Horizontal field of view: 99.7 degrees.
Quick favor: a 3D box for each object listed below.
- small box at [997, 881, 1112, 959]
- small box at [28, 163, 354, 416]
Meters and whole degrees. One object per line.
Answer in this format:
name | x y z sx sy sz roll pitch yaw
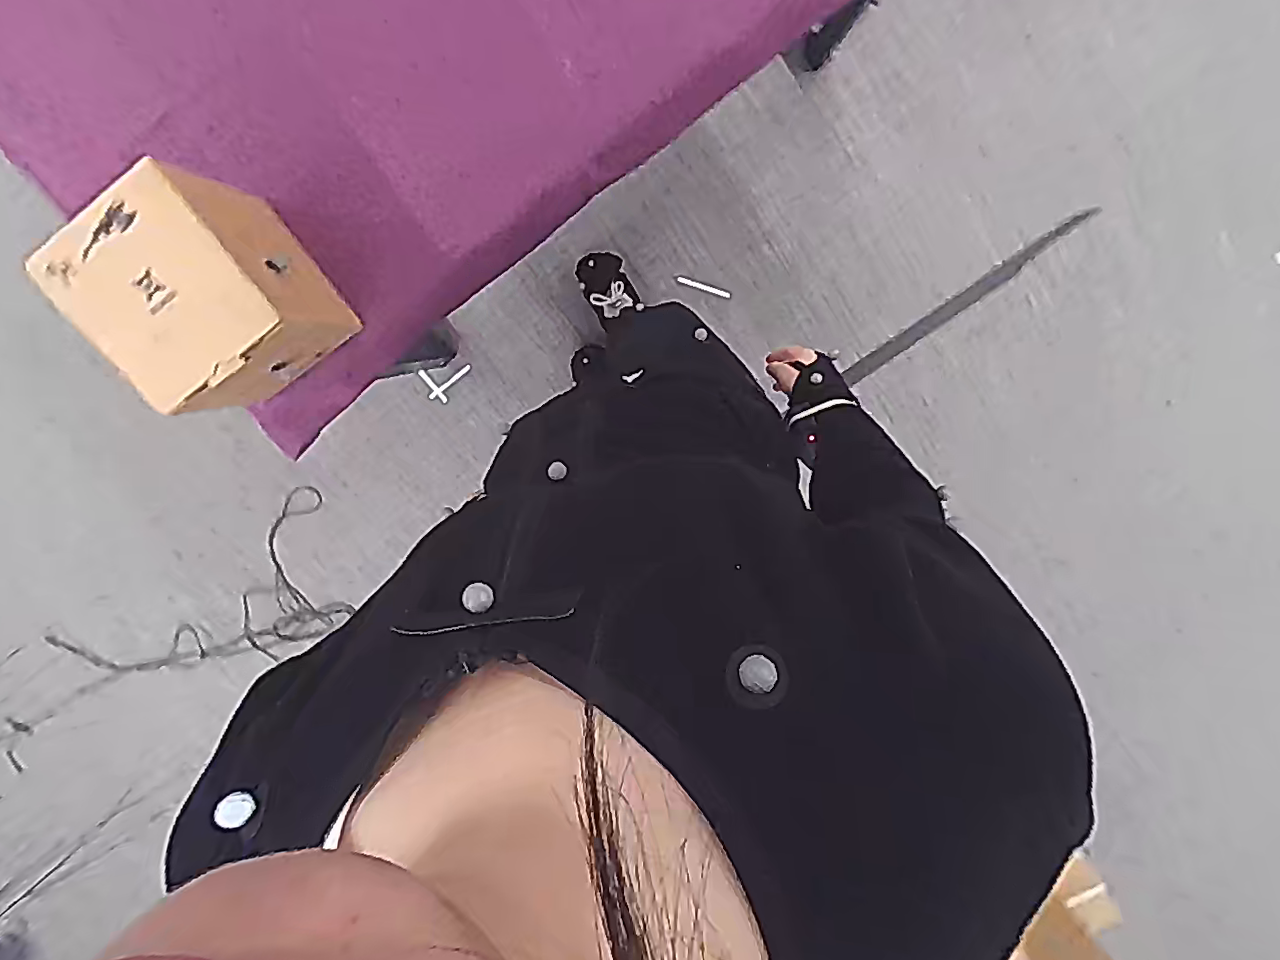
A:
small box | 1.147 1.266 1.496 0.179 0.176 0.168 -36 102 9
small box | -0.459 -0.197 0.591 0.168 0.176 0.179 -34 104 6
